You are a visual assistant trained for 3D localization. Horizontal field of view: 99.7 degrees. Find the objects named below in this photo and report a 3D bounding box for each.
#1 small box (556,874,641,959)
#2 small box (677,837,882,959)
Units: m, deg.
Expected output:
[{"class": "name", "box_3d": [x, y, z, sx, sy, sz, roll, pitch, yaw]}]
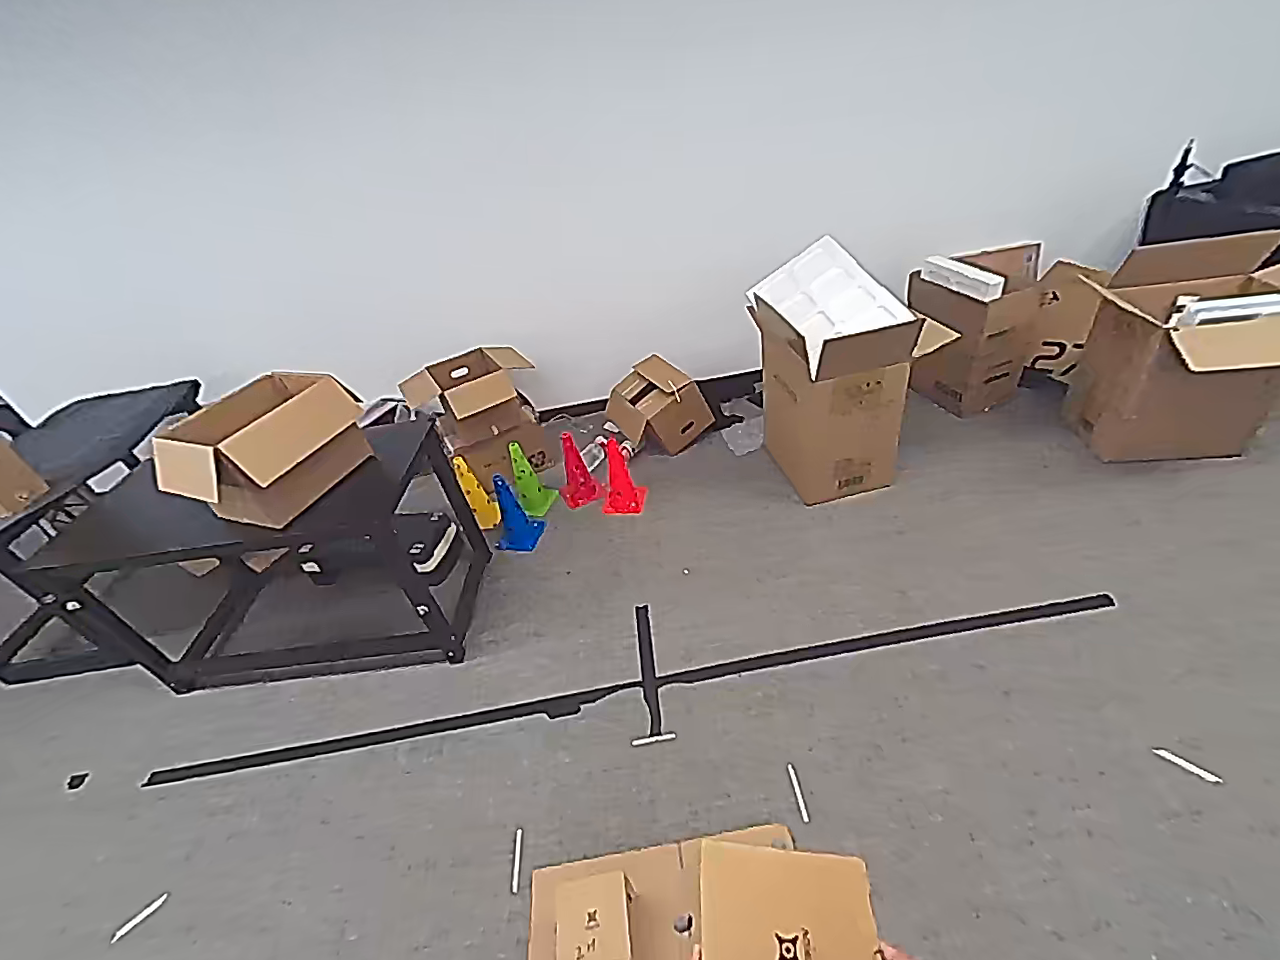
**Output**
[{"class": "small box", "box_3d": [-0.094, 1.059, 1.256, 0.168, 0.176, 0.179, -12, 37, 0]}, {"class": "small box", "box_3d": [0.131, 0.494, 0.555, 0.179, 0.176, 0.168, 8, 43, -1]}]
